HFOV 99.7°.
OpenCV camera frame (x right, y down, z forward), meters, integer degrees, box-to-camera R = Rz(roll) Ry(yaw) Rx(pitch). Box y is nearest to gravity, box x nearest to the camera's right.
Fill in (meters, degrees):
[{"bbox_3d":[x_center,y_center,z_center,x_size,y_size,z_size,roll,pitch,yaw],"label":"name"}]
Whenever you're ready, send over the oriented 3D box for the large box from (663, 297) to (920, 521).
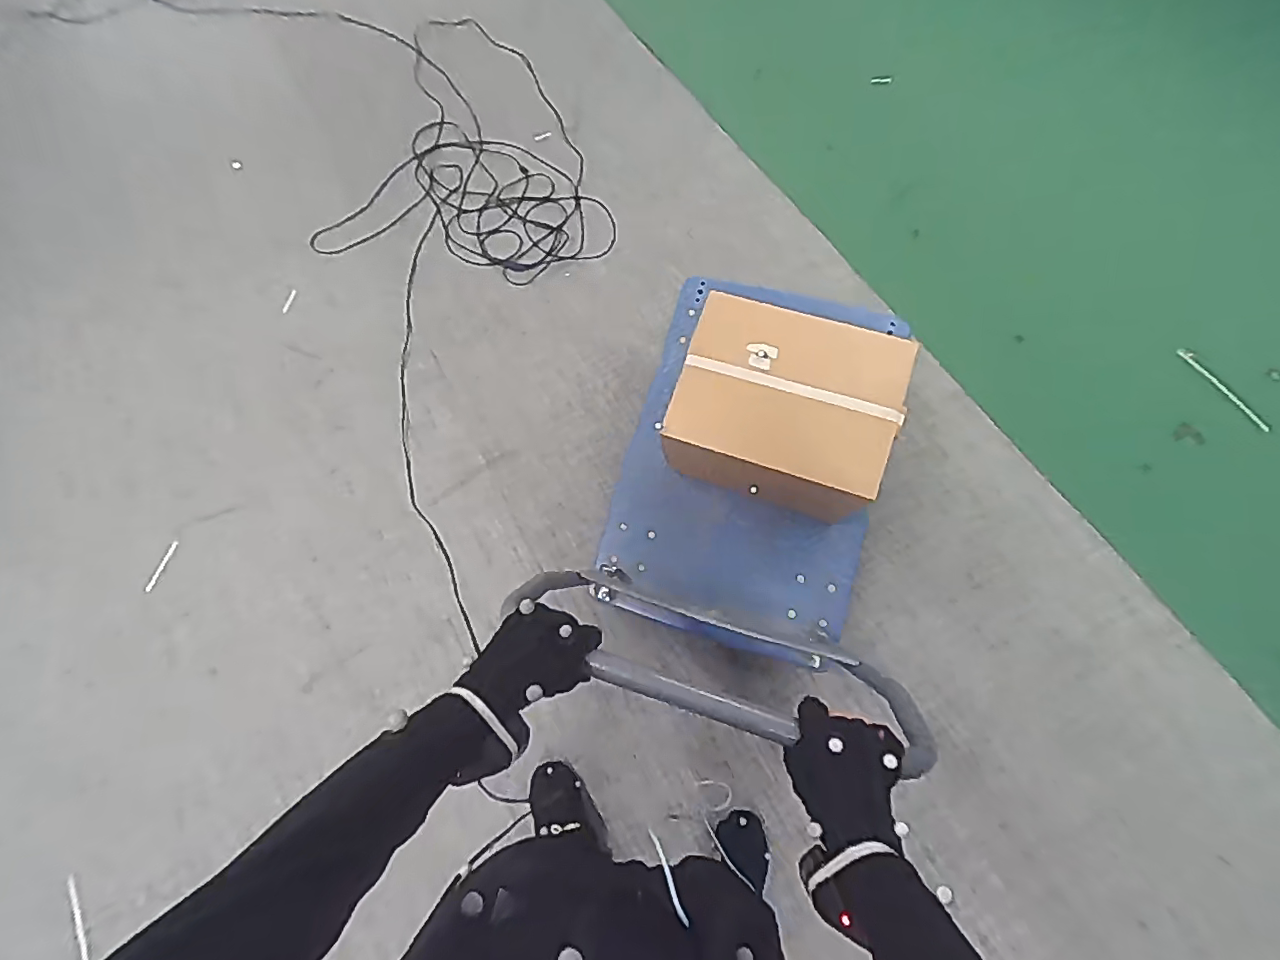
[{"bbox_3d":[0.301,-0.131,1.147,0.408,0.320,0.320,19,81,12],"label":"large box"}]
